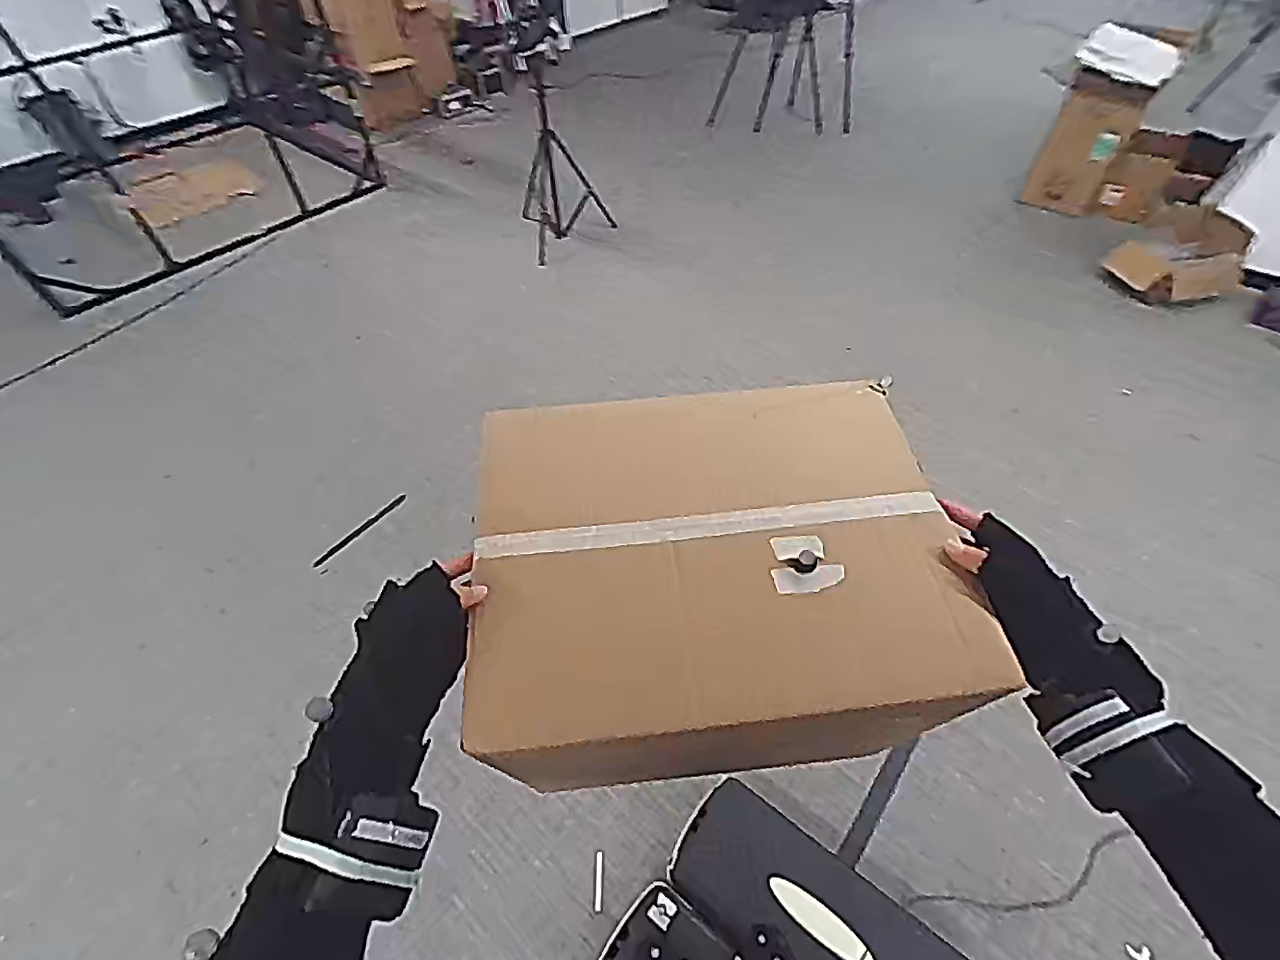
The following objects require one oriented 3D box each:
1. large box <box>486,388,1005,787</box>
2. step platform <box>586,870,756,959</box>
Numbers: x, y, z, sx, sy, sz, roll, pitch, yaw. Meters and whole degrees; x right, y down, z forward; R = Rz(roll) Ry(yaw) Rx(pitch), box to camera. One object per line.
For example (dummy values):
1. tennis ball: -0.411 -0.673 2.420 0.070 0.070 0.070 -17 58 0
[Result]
1. large box: 0.066 0.129 0.604 0.408 0.320 0.320 -5 56 -3
2. step platform: 0.198 1.148 1.086 0.684 0.204 0.286 28 57 24
